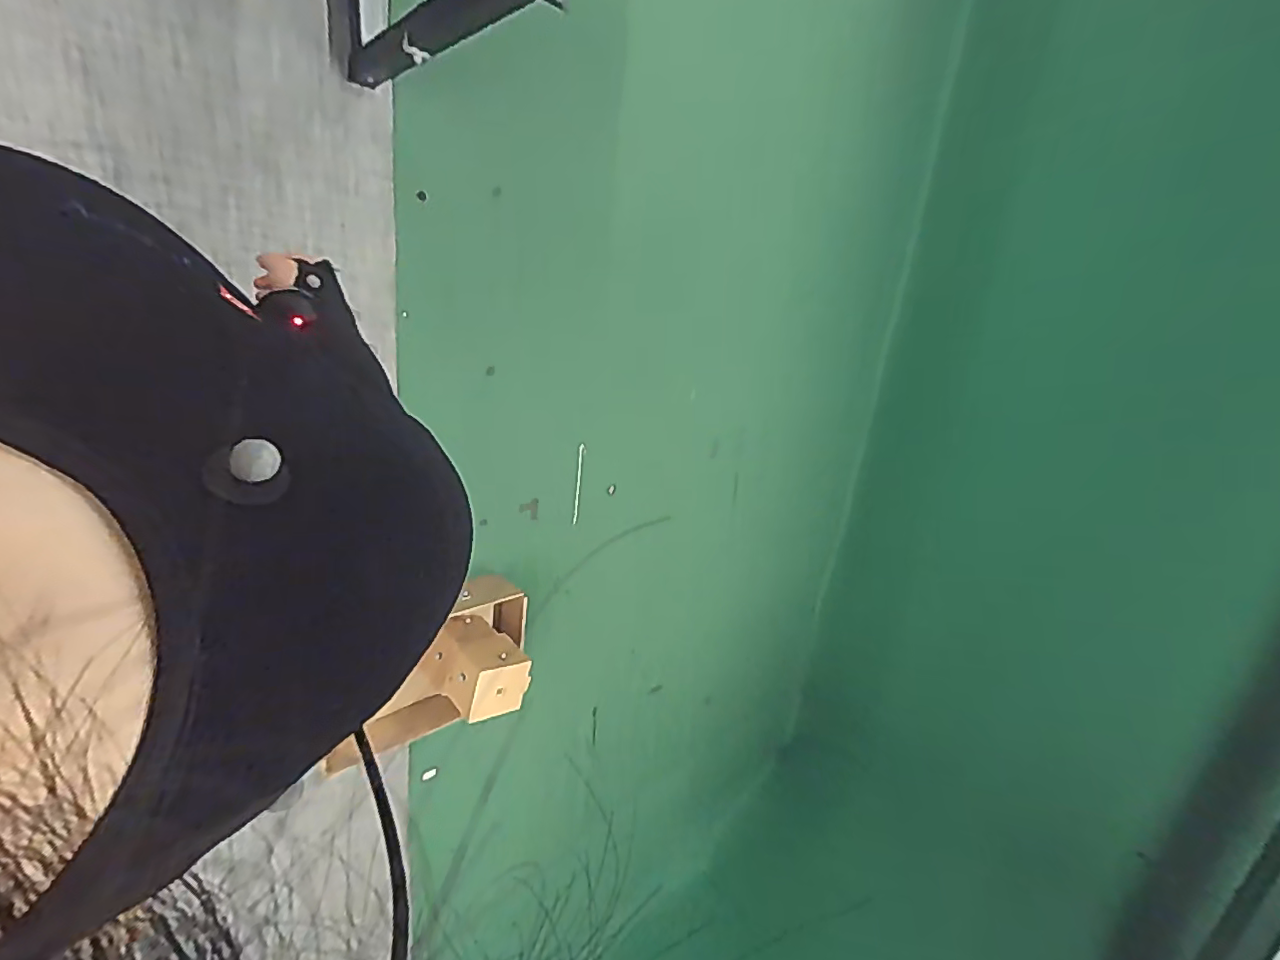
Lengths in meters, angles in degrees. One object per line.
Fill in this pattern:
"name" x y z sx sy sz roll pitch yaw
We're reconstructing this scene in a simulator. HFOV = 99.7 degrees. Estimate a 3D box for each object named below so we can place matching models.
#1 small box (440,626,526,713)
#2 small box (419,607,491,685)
"small box" -0.472 0.556 1.614 0.179 0.176 0.168 4 106 -47
"small box" -0.583 0.524 1.730 0.168 0.176 0.179 11 100 -48
